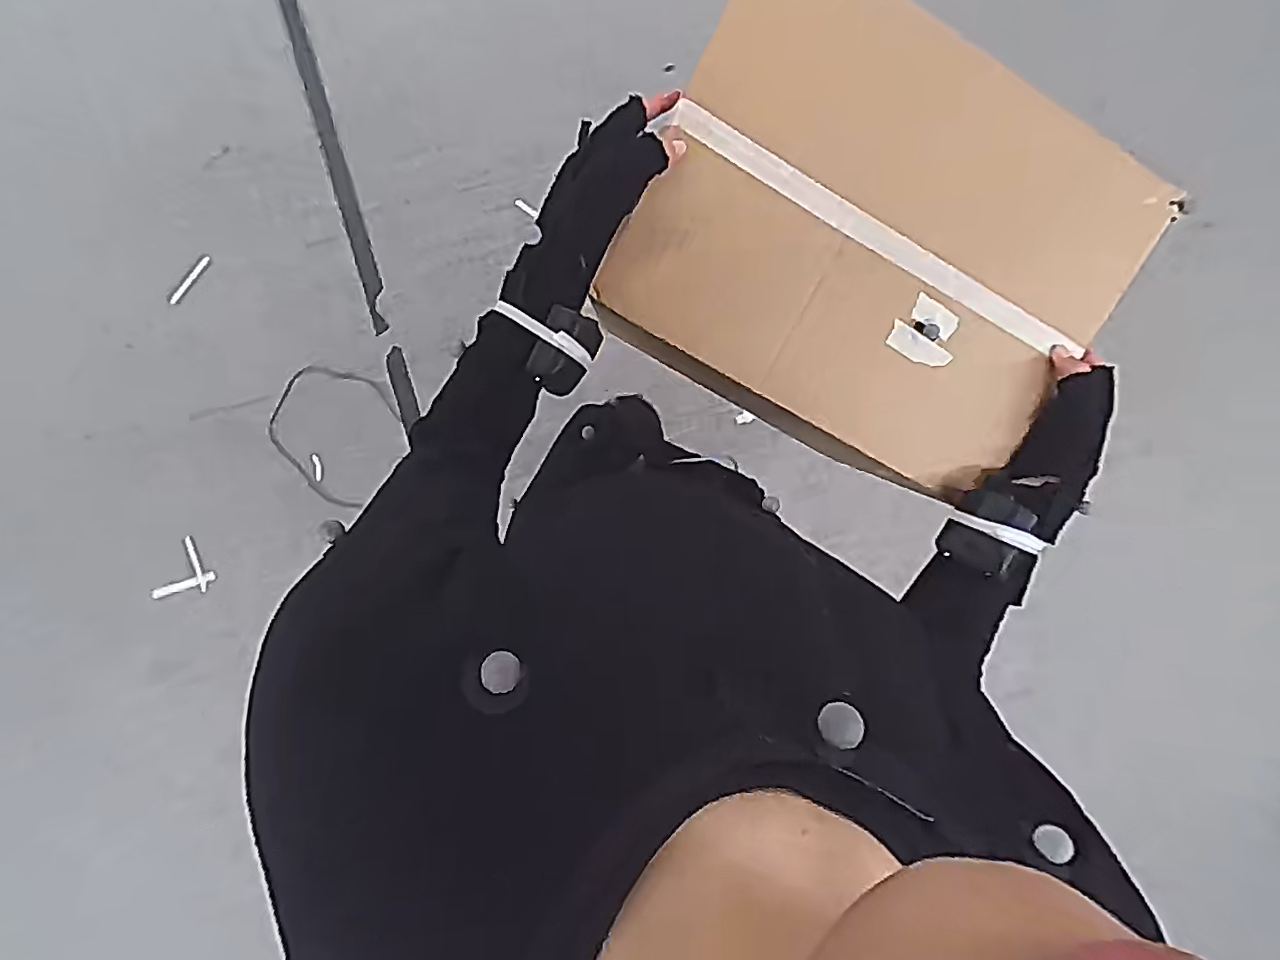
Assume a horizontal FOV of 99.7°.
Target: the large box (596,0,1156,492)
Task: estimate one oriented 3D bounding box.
[{"bbox_3d":[0.194,-0.235,0.608,0.408,0.320,0.320,27,100,-8],"label":"large box"}]
